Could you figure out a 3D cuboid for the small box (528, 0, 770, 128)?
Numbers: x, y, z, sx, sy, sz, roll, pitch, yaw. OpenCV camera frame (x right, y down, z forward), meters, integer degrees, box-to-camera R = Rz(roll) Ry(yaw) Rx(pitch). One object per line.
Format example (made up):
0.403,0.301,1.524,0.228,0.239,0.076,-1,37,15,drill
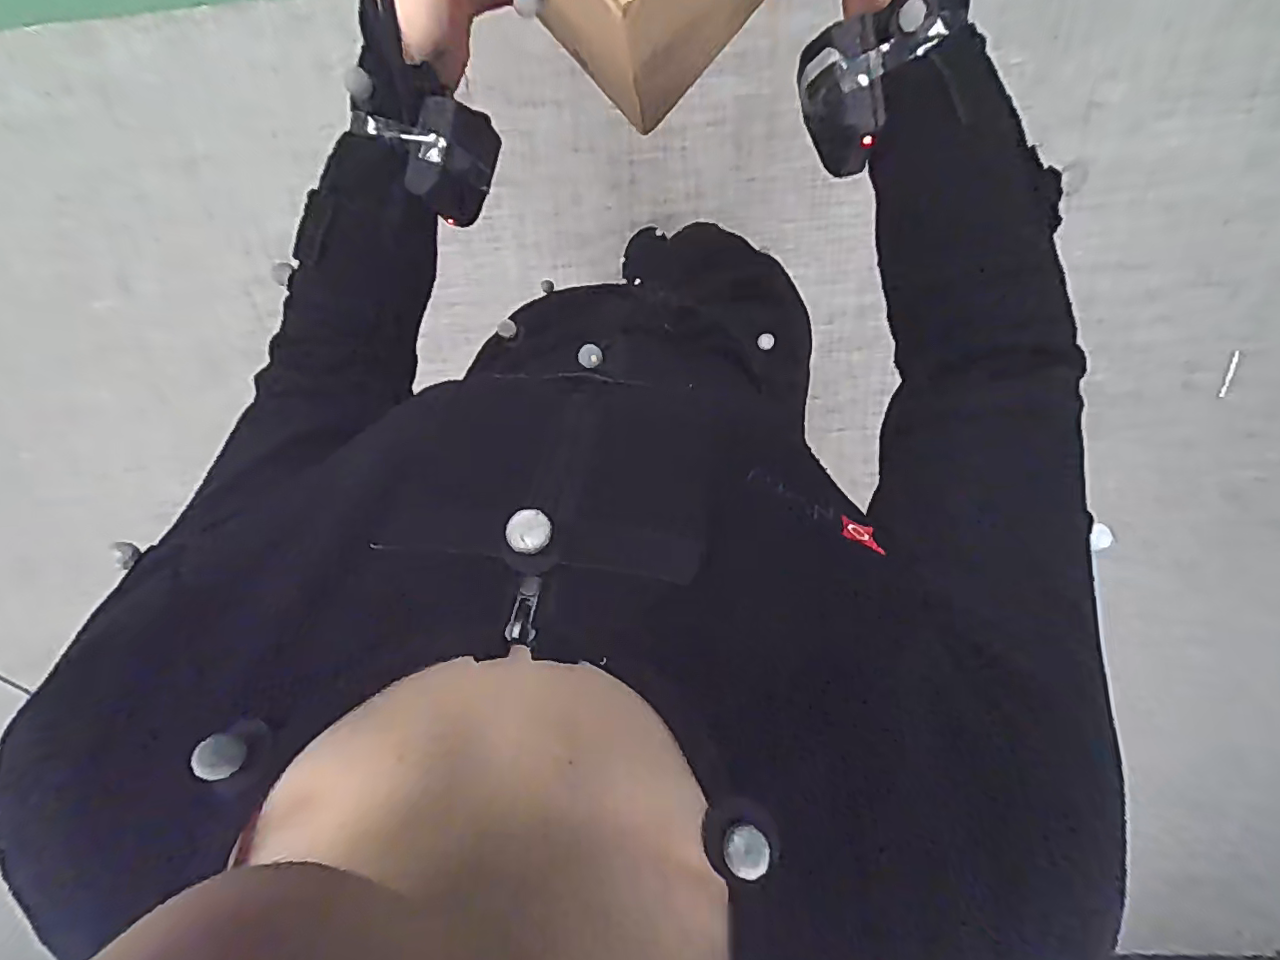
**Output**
0.003,-0.340,0.292,0.168,0.176,0.179,44,106,-8,small box
